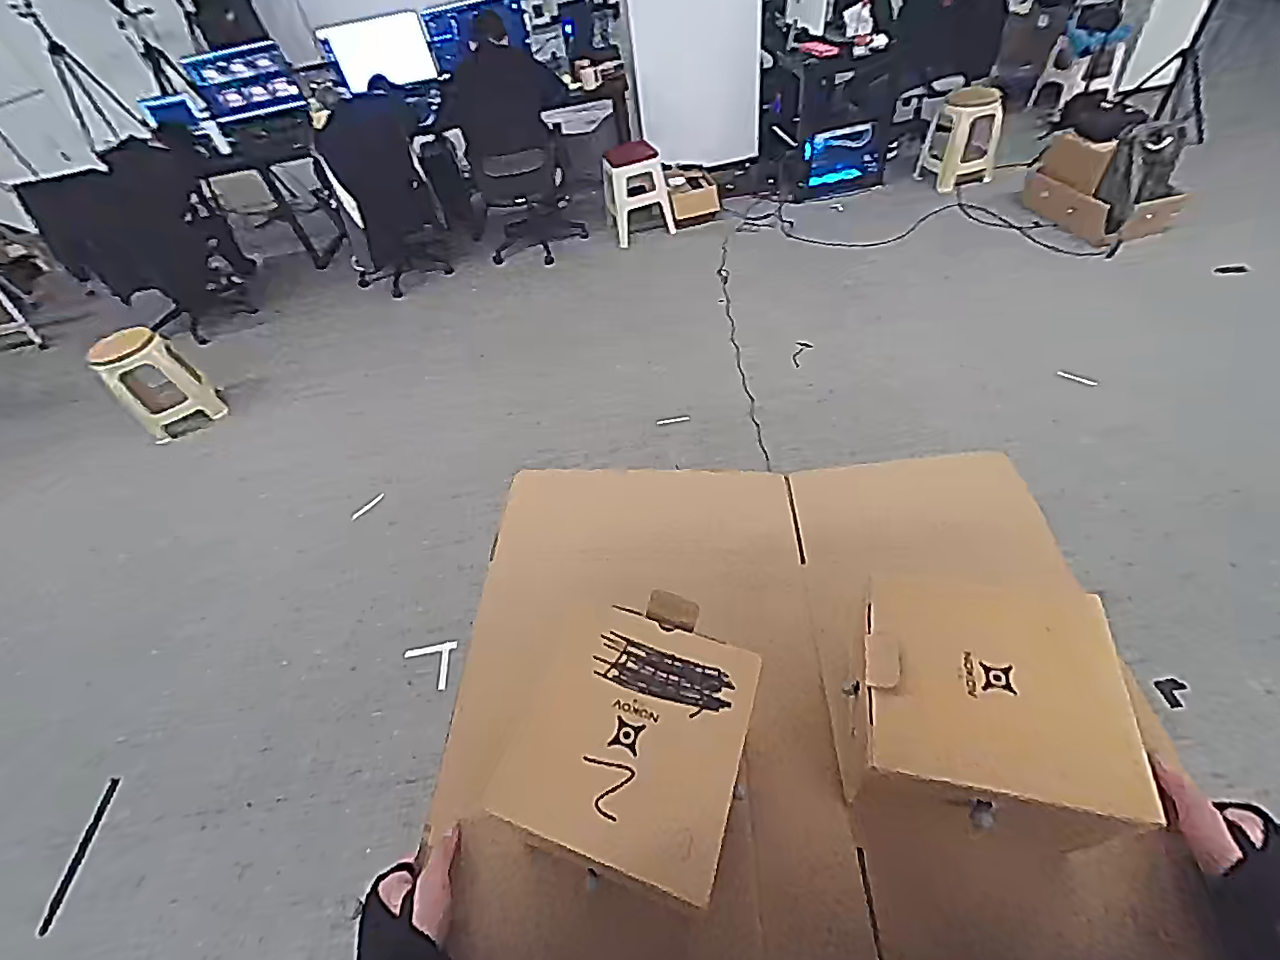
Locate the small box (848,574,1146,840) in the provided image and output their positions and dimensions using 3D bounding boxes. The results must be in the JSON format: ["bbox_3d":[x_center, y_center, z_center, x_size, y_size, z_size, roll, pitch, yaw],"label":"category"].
[{"bbox_3d":[0.288,0.205,0.486,0.179,0.176,0.168,3,52,19],"label":"small box"}]
